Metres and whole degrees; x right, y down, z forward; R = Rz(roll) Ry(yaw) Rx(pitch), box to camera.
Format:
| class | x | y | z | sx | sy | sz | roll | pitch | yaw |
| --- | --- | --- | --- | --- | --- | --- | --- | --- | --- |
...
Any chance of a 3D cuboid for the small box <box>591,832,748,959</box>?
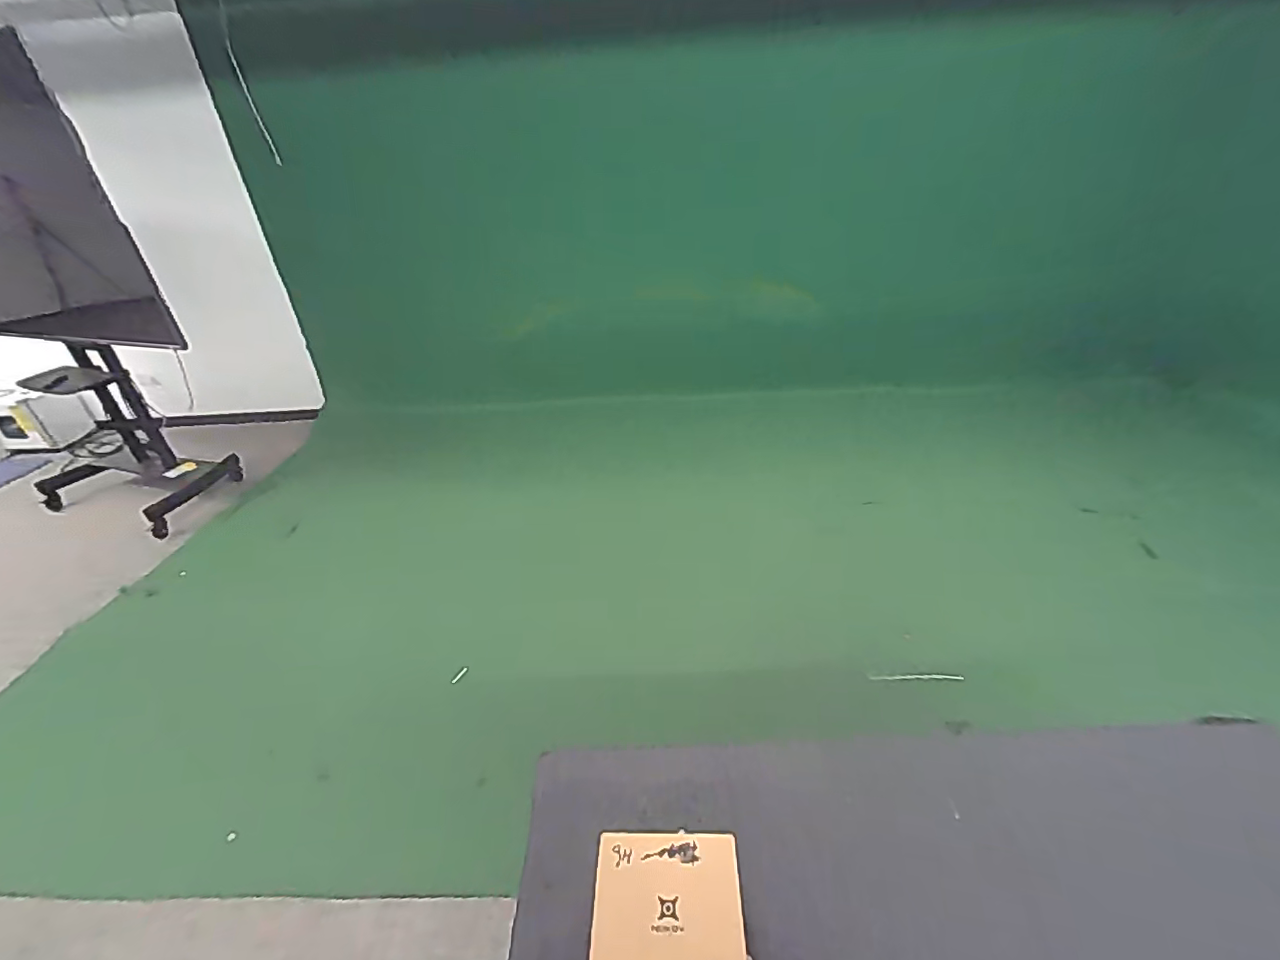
| class | x | y | z | sx | sy | sz | roll | pitch | yaw |
| --- | --- | --- | --- | --- | --- | --- | --- | --- | --- |
| small box | 0.037 | 0.546 | 0.630 | 0.168 | 0.176 | 0.179 | -1 | 32 | 3 |
